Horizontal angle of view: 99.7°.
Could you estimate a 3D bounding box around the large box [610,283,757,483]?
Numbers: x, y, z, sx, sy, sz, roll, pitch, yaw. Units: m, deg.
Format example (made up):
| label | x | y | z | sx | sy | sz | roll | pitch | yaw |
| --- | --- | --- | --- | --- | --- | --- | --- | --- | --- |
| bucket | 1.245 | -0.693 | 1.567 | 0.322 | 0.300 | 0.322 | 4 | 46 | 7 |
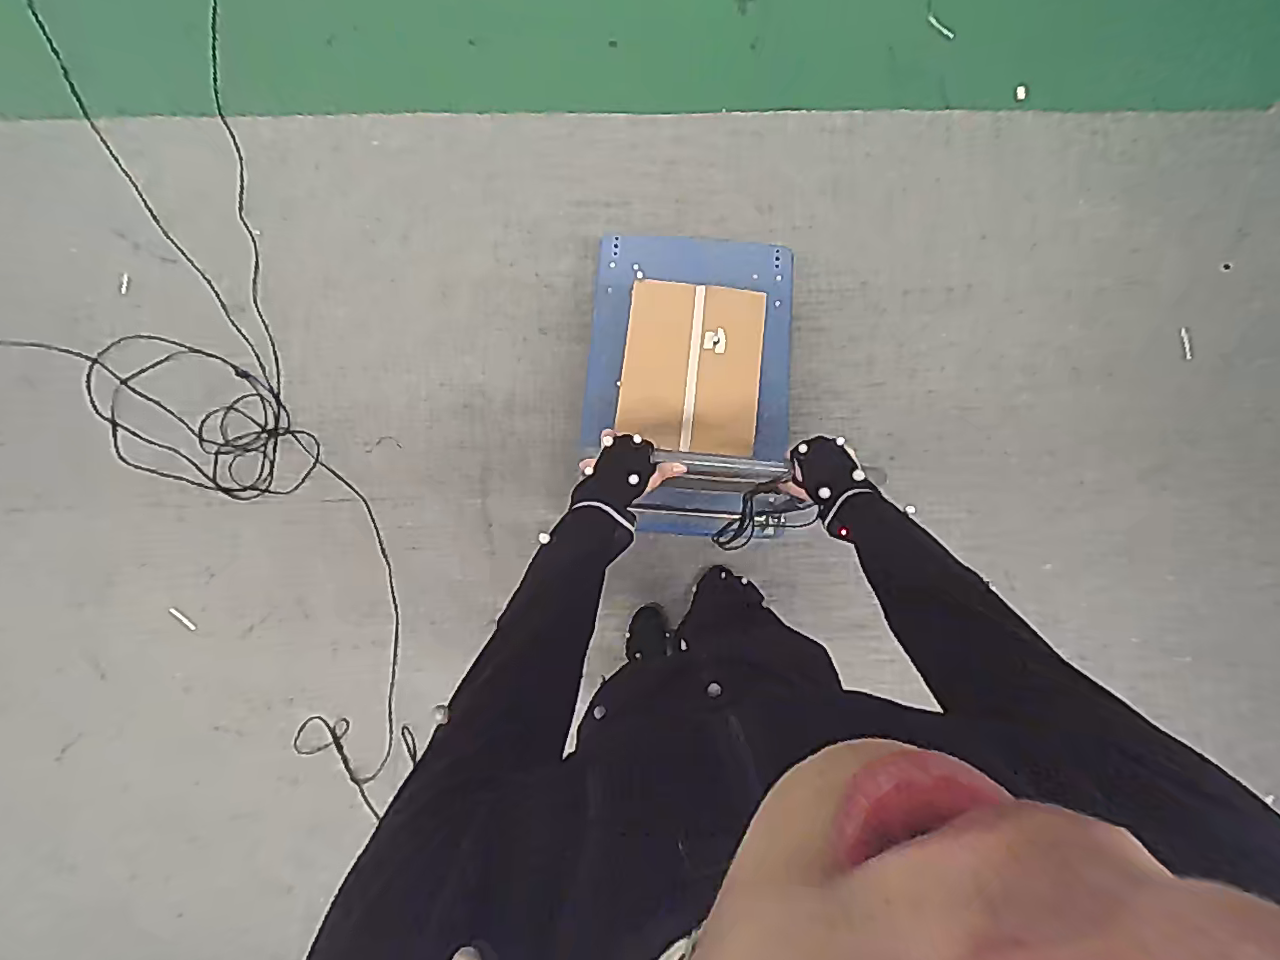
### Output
| label | x | y | z | sx | sy | sz | roll | pitch | yaw |
| --- | --- | --- | --- | --- | --- | --- | --- | --- | --- |
| large box | 0.102 | -0.224 | 1.375 | 0.320 | 0.320 | 0.408 | 7 | 79 | -1 |
